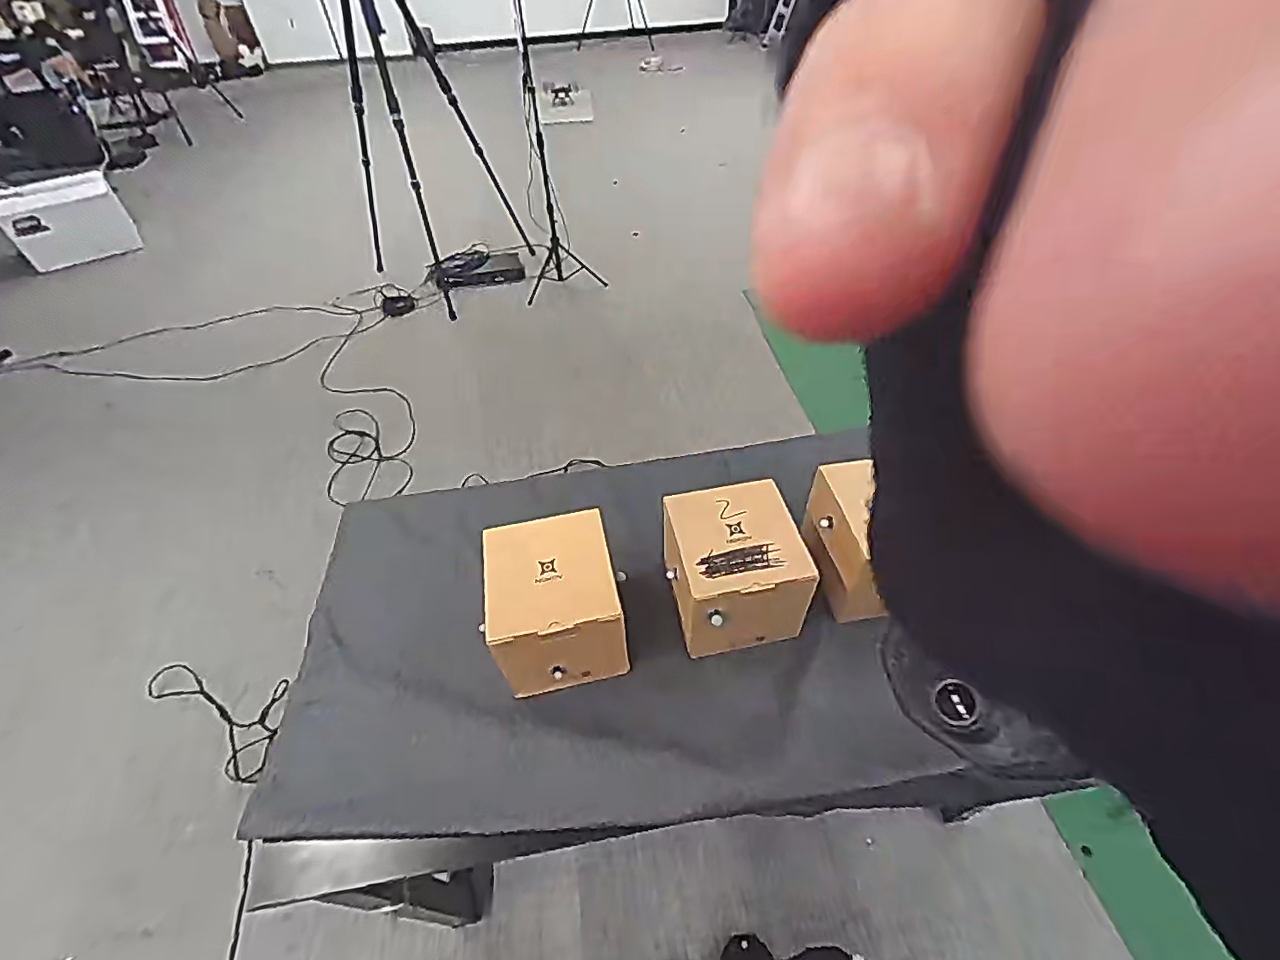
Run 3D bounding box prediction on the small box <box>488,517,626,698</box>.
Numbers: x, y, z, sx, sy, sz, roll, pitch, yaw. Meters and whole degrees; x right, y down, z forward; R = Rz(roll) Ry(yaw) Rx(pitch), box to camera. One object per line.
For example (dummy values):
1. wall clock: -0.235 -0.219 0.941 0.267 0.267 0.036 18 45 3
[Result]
1. small box: -0.117 0.181 0.771 0.168 0.176 0.179 -10 48 -7
